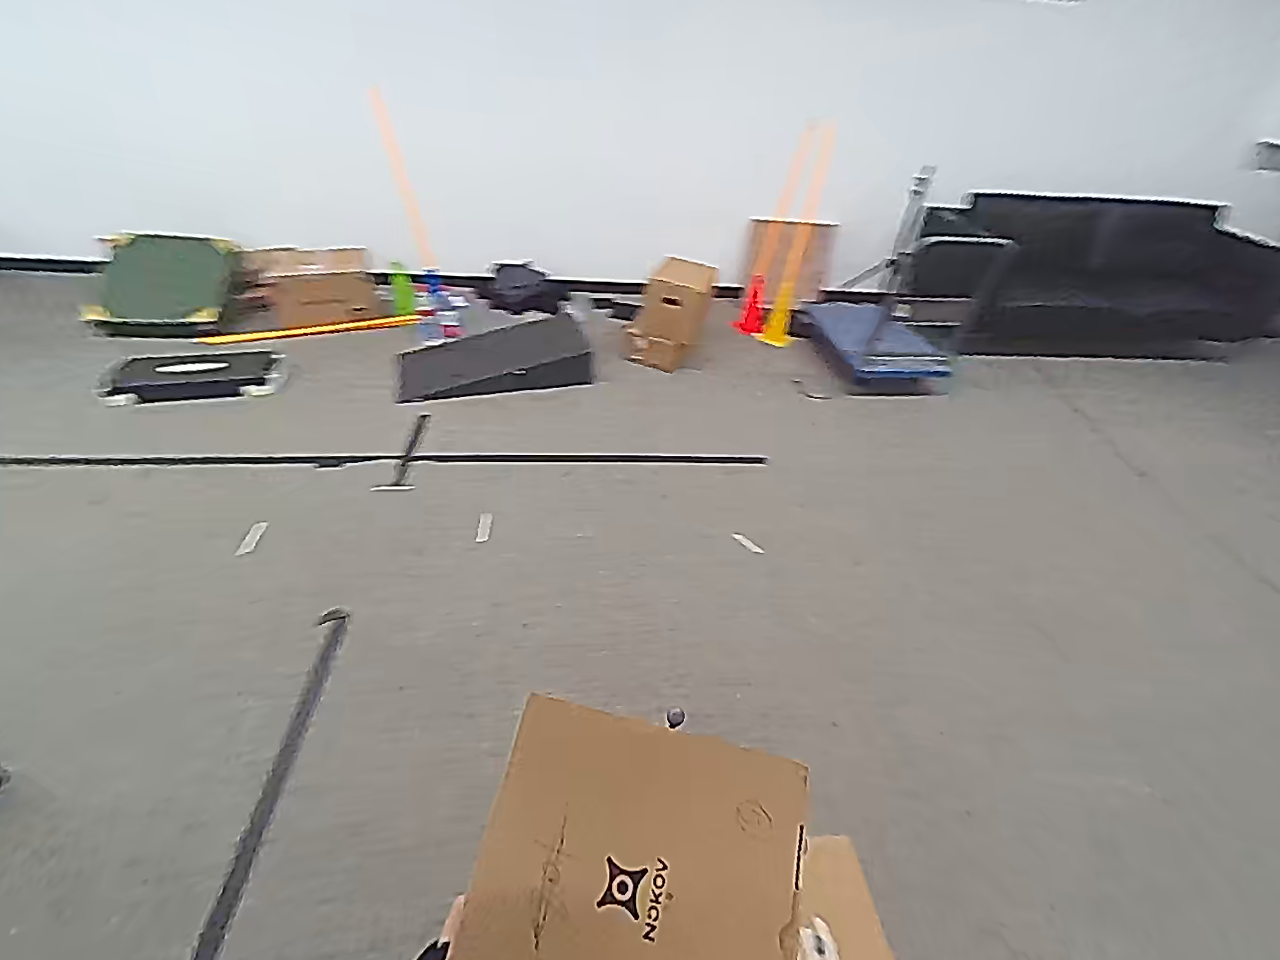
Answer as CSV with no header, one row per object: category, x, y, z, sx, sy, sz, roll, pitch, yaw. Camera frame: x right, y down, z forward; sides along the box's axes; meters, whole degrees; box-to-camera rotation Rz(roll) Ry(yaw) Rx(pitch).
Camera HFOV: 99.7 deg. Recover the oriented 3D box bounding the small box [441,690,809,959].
small box,0.000,0.251,0.358,0.179,0.176,0.168,10,64,11
